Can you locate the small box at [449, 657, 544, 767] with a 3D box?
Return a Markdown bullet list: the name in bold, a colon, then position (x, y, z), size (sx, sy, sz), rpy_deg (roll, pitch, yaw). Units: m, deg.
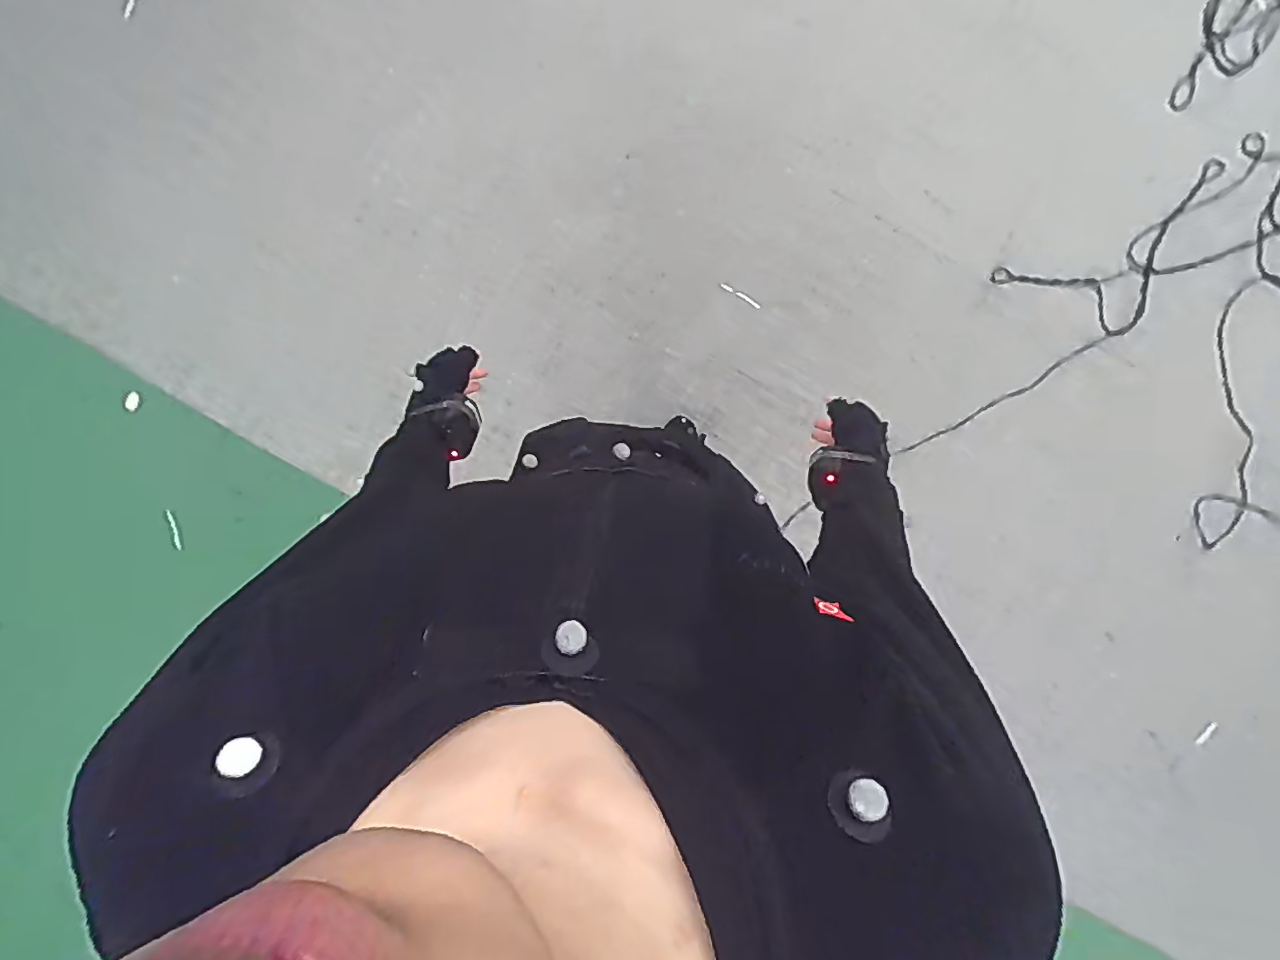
- **small box**: position (-0.372, 0.608, 1.441), size (0.168, 0.176, 0.179), rpy_deg (33, 97, -2)
